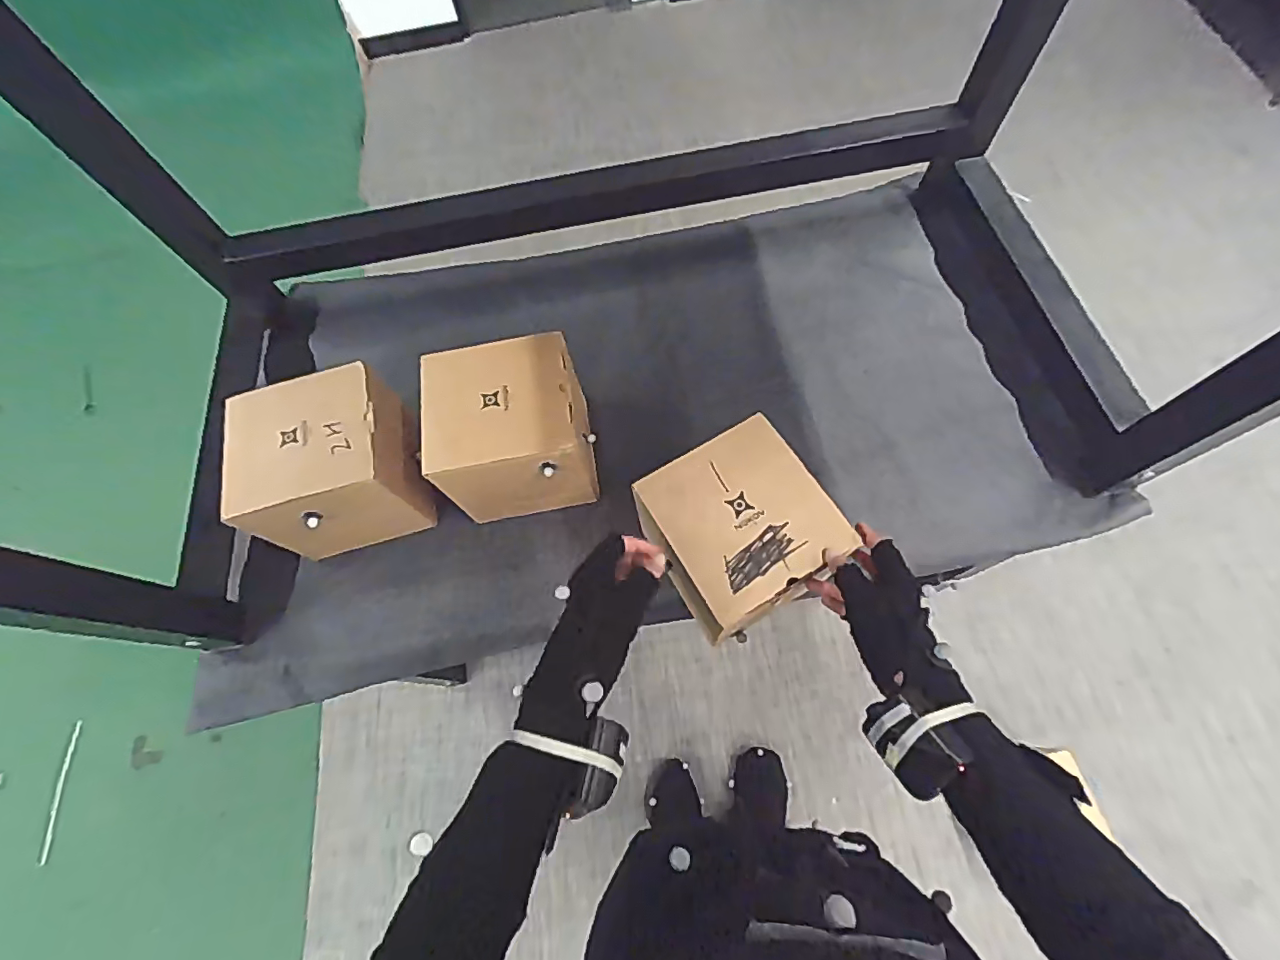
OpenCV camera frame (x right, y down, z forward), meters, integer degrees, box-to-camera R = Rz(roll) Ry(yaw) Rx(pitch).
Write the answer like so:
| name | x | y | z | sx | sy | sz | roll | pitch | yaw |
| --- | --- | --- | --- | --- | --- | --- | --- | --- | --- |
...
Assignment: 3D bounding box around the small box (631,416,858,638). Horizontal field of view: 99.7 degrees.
| name | x | y | z | sx | sy | sz | roll | pitch | yaw |
| --- | --- | --- | --- | --- | --- | --- | --- | --- | --- |
| small box | 0.108 | 0.065 | 0.616 | 0.168 | 0.176 | 0.179 | -29 | 68 | -7 |
